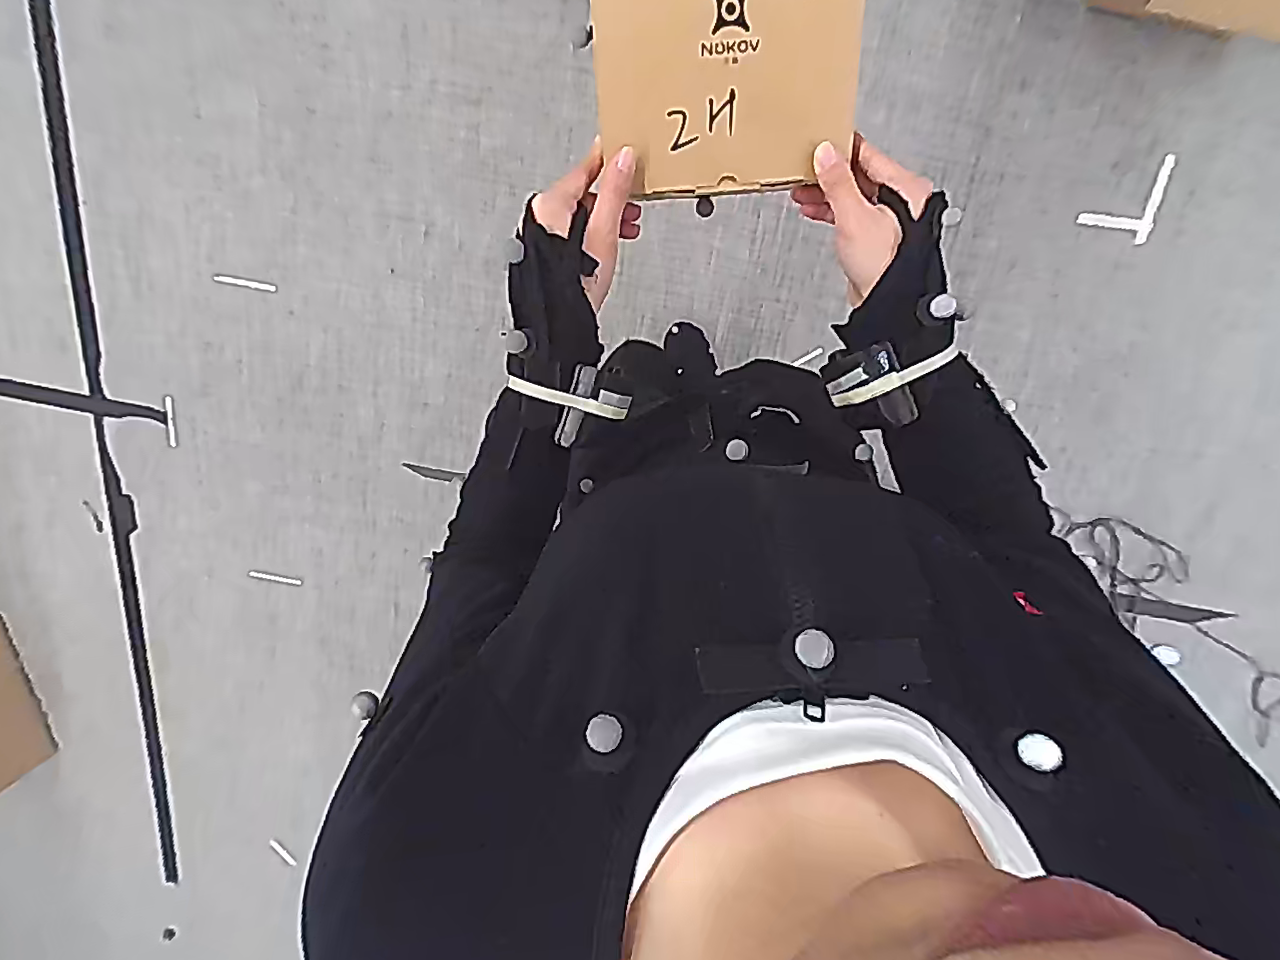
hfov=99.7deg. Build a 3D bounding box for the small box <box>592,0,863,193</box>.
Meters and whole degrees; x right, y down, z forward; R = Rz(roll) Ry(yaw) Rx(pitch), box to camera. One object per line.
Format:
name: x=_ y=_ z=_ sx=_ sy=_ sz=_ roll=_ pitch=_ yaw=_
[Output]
small box: x=0.050 y=-0.317 z=0.396 sx=0.168 sy=0.176 sz=0.179 roll=-4 pitch=116 yaw=0
